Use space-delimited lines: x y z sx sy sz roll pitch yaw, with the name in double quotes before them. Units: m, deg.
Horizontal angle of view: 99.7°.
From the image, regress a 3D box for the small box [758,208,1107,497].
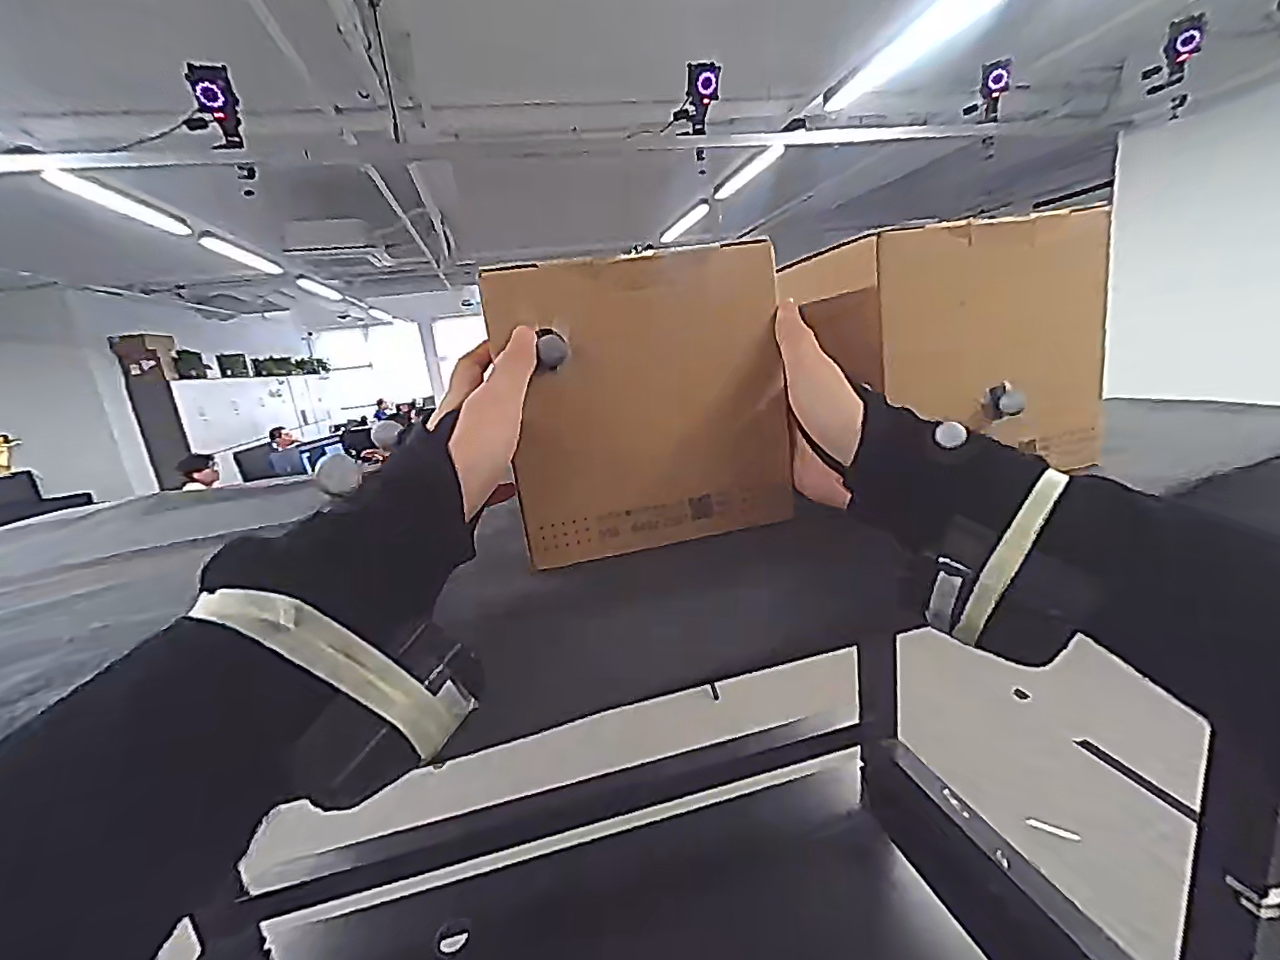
"small box" 0.207 -0.092 0.421 0.168 0.176 0.179 -11 13 -10
